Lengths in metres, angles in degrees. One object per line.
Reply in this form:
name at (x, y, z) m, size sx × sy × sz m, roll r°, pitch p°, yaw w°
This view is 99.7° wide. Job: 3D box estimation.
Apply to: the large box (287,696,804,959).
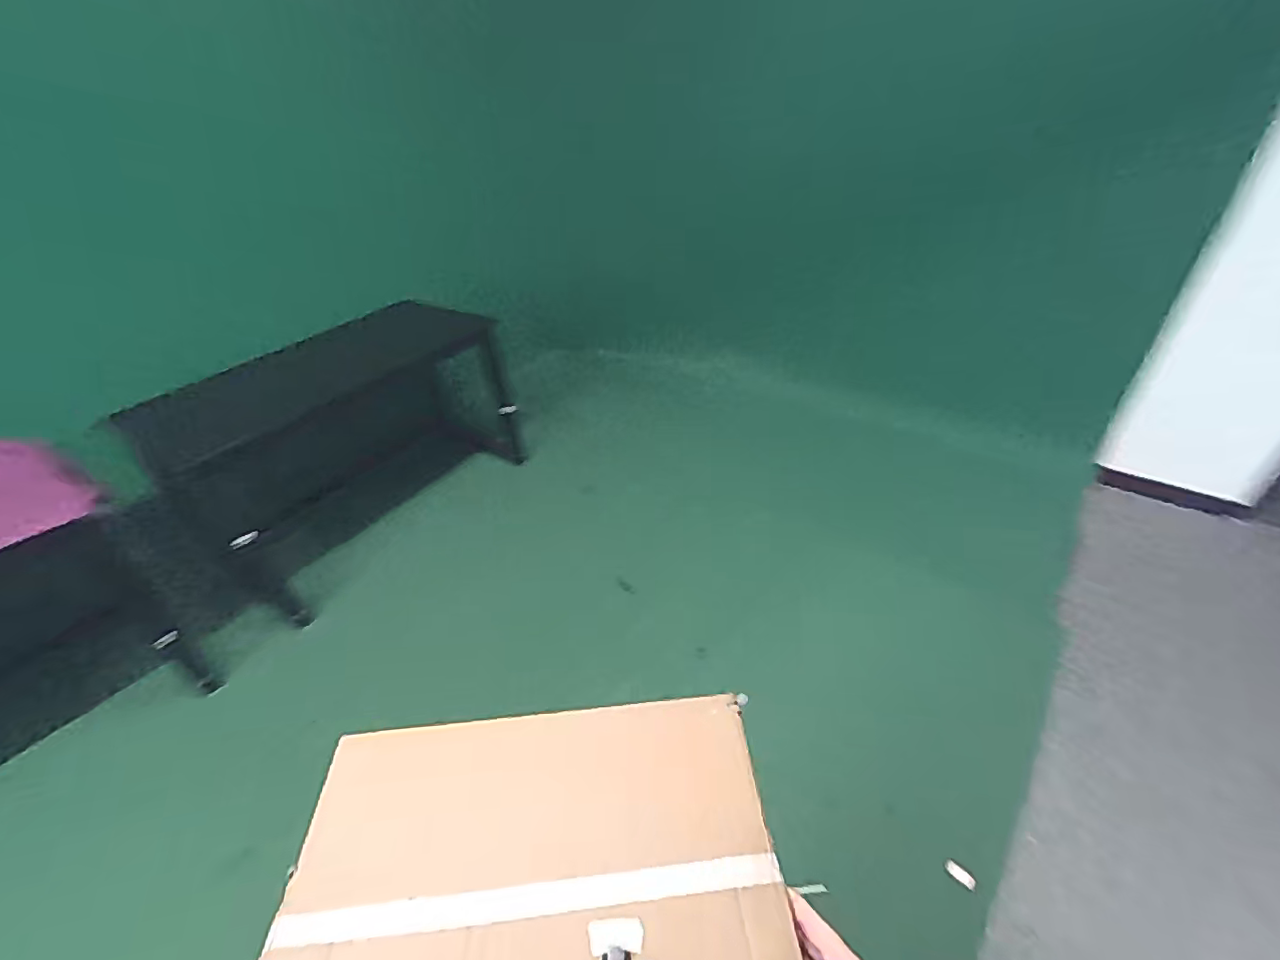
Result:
large box at (-0.076, 0.456, 0.543) m, size 0.408 × 0.320 × 0.320 m, roll -3°, pitch 40°, yaw -3°
